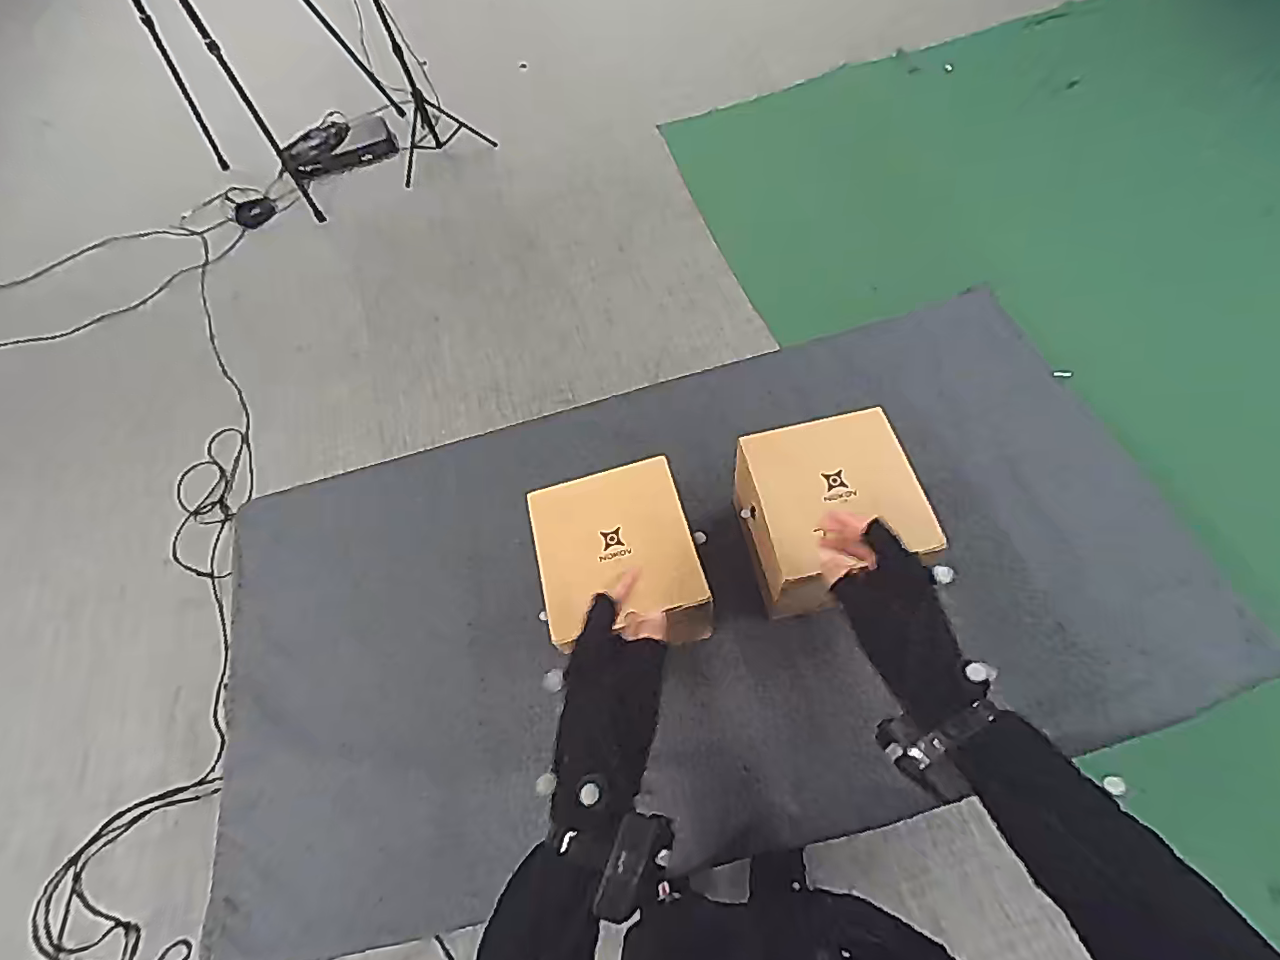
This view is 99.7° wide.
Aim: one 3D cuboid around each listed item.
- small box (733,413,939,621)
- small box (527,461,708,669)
[{"bbox_3d":[0.212,0.051,0.646,0.168,0.176,0.179,-12,62,1],"label":"small box"},{"bbox_3d":[-0.023,0.107,0.647,0.168,0.176,0.179,-16,62,-1],"label":"small box"}]
